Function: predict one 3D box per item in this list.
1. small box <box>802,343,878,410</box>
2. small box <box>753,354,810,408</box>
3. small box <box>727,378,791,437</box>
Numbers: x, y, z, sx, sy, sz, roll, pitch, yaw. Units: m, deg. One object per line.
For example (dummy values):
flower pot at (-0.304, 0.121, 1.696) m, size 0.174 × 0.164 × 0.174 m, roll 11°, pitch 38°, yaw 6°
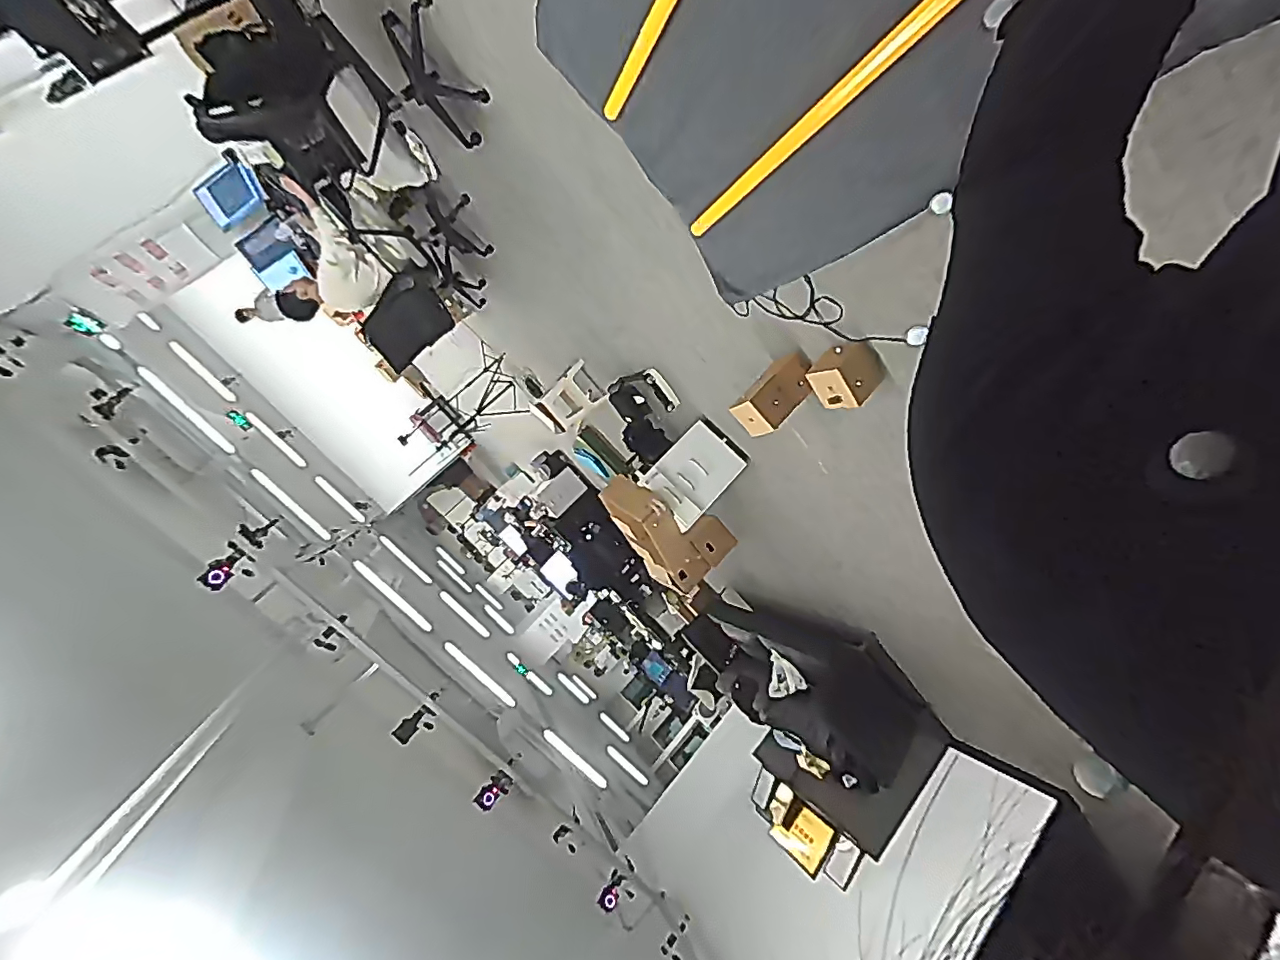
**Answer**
small box at (0.755, -0.386, 2.027) m, size 0.179 × 0.176 × 0.168 m, roll 51°, pitch 163°, yaw -20°
small box at (0.612, -0.412, 2.309) m, size 0.168 × 0.176 × 0.179 m, roll 47°, pitch 164°, yaw -11°
small box at (0.502, -0.302, 2.255) m, size 0.168 × 0.176 × 0.179 m, roll 47°, pitch 164°, yaw -10°
